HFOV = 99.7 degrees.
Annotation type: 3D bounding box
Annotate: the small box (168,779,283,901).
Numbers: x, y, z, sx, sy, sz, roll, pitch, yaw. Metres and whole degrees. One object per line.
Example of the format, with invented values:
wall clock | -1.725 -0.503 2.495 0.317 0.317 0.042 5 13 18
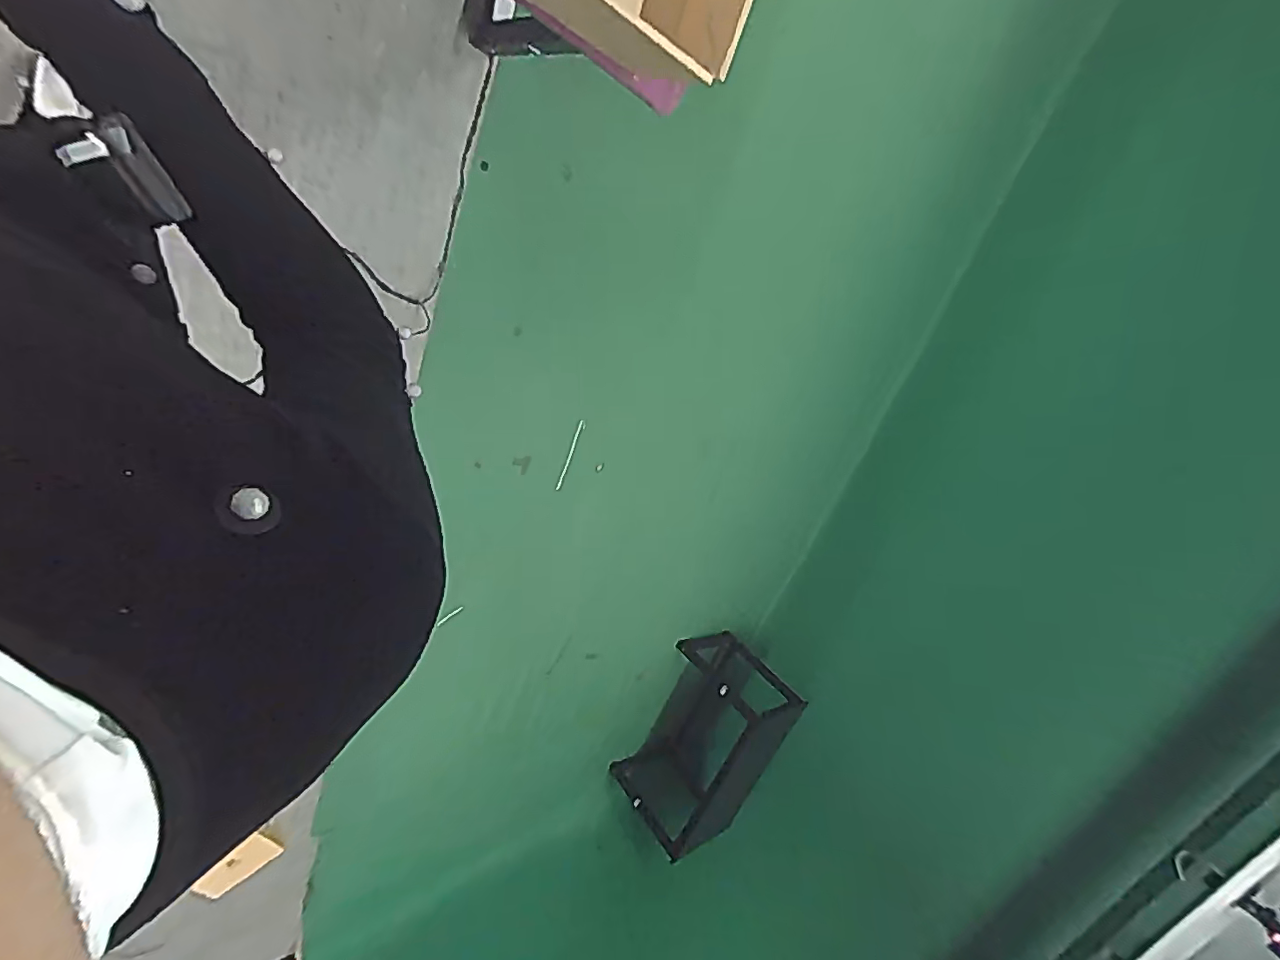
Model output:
small box | -1.032 0.891 1.351 0.168 0.176 0.179 -30 135 -25
